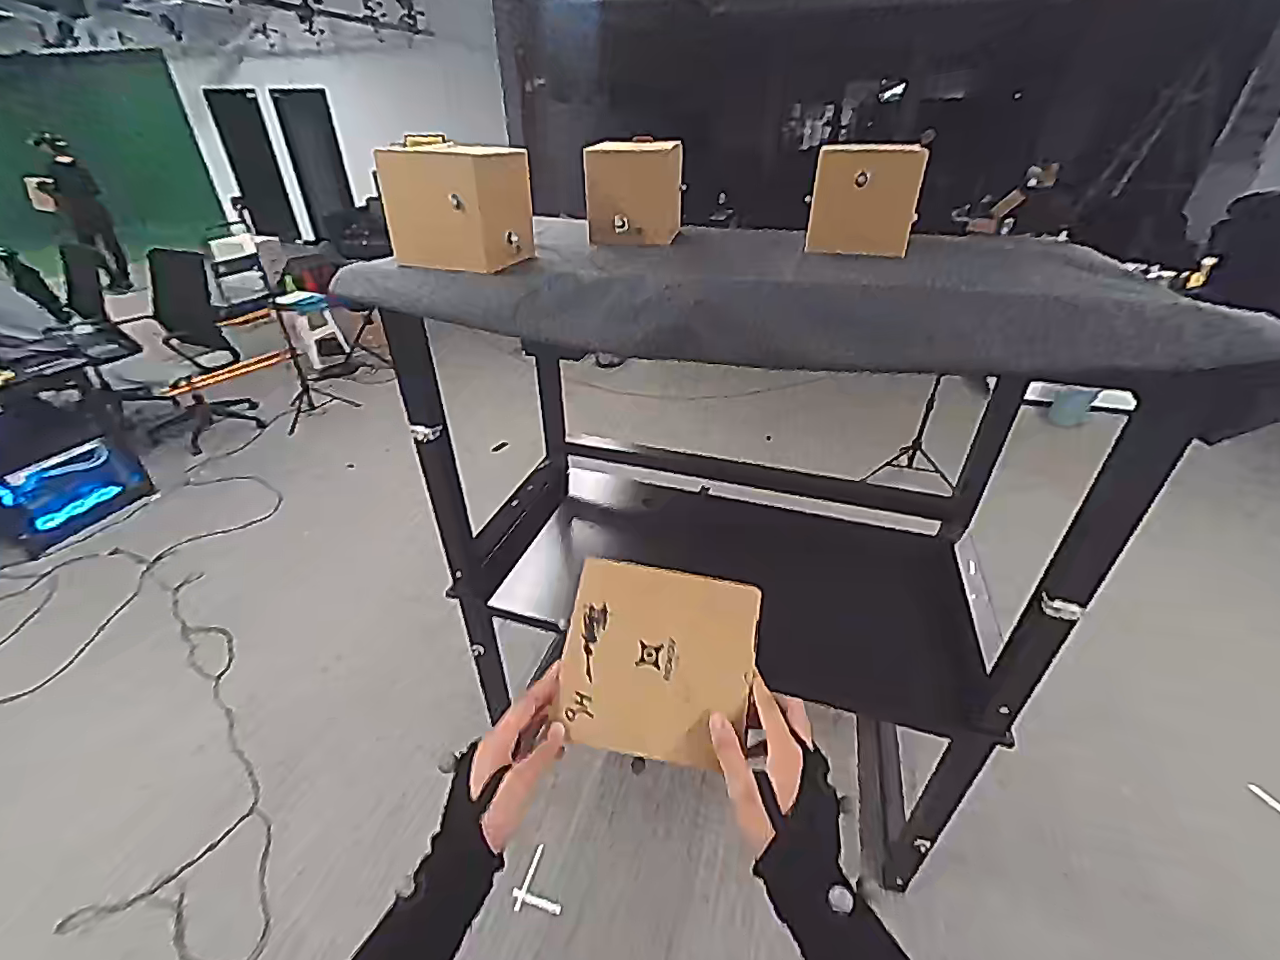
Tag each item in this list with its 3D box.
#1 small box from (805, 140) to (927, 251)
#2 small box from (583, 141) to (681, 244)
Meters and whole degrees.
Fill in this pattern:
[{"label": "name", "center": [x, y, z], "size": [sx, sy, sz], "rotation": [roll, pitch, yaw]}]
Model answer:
[{"label": "small box", "center": [0.409, -0.529, 1.004], "size": [0.179, 0.176, 0.168], "rotation": [10, 36, 15]}, {"label": "small box", "center": [-0.011, -0.585, 1.095], "size": [0.168, 0.176, 0.179], "rotation": [5, 34, 10]}]
